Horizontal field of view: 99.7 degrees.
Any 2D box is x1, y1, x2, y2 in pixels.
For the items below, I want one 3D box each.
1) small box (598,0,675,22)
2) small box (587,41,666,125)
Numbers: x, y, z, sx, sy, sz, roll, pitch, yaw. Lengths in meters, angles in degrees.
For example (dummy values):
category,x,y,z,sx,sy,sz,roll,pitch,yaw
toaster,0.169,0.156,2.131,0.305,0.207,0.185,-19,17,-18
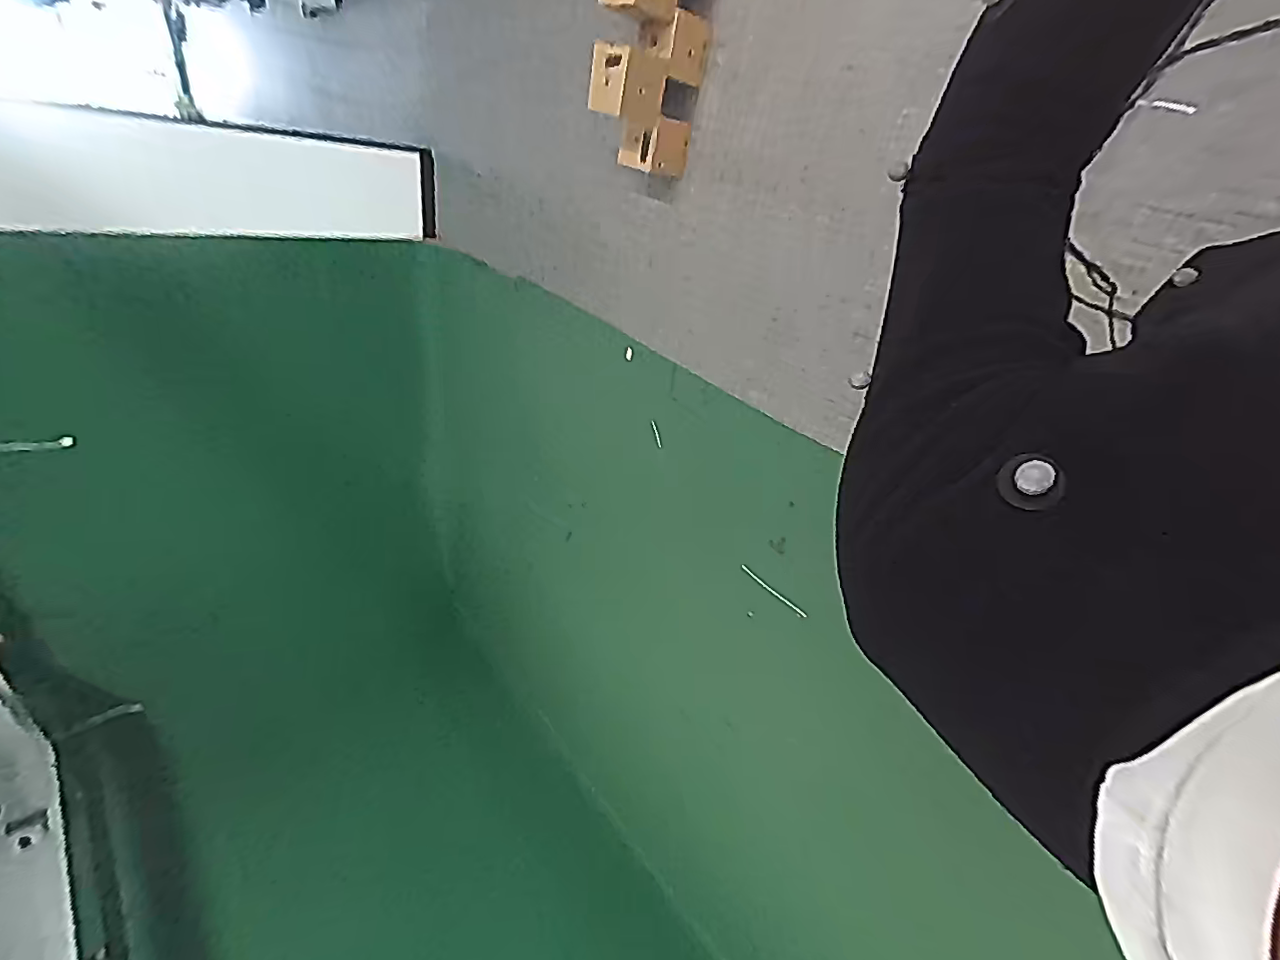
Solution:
category,x,y,z,sx,sy,sz,roll,pitch,yaw
small box,0.002,-1.466,1.571,0.168,0.176,0.179,35,127,33
small box,-0.041,-1.247,1.704,0.168,0.176,0.179,39,132,32
